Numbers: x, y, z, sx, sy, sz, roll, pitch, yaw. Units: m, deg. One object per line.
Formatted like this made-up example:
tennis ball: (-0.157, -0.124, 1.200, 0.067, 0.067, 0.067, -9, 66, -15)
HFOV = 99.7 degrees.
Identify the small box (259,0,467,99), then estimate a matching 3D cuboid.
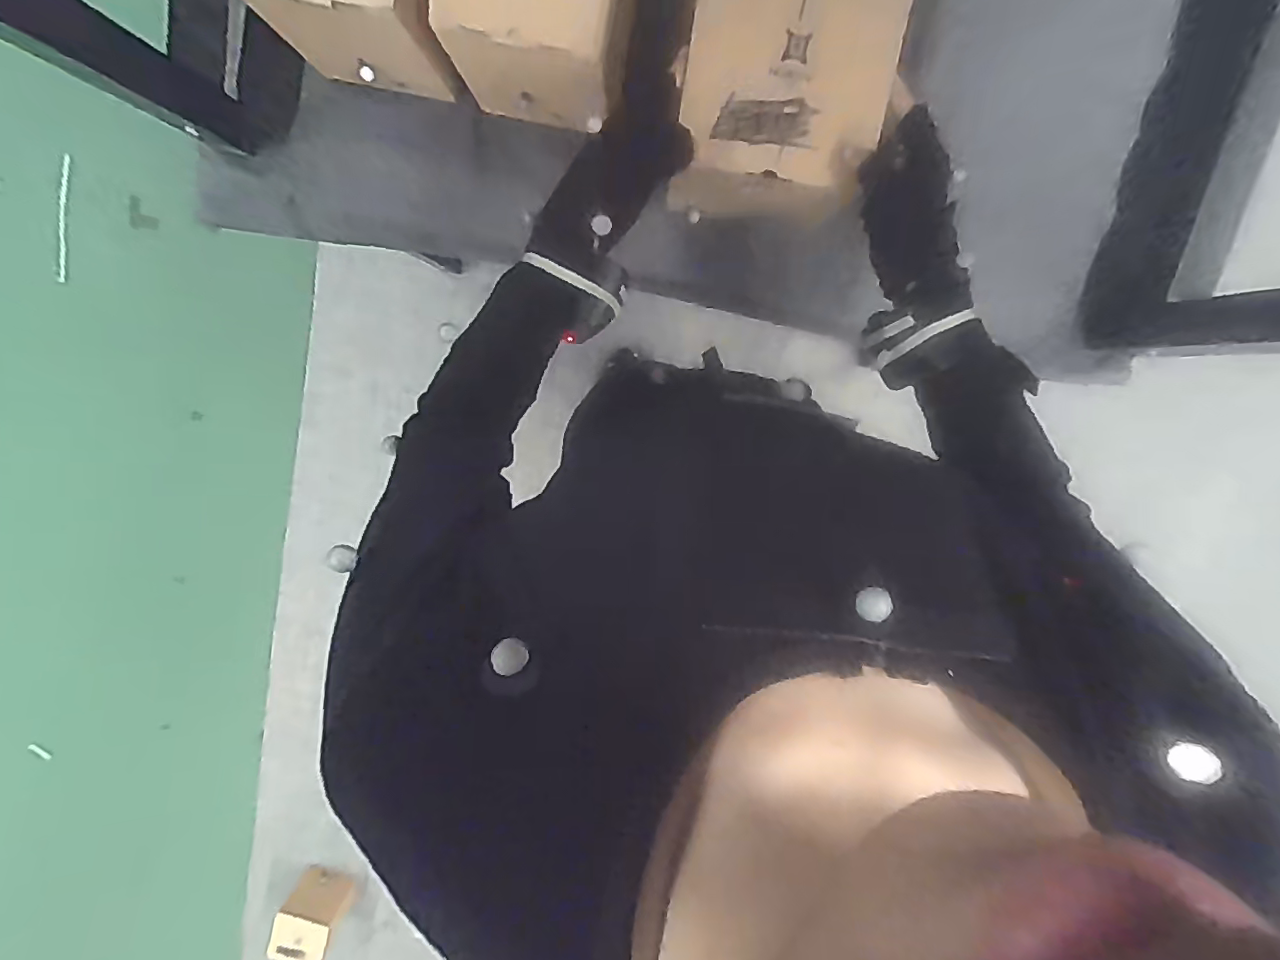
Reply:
small box: (-0.288, -0.542, 0.557, 0.168, 0.176, 0.179, 11, 101, 0)

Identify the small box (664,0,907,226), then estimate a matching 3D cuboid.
small box: (0.117, -0.352, 0.501, 0.168, 0.176, 0.179, 9, 104, -2)
